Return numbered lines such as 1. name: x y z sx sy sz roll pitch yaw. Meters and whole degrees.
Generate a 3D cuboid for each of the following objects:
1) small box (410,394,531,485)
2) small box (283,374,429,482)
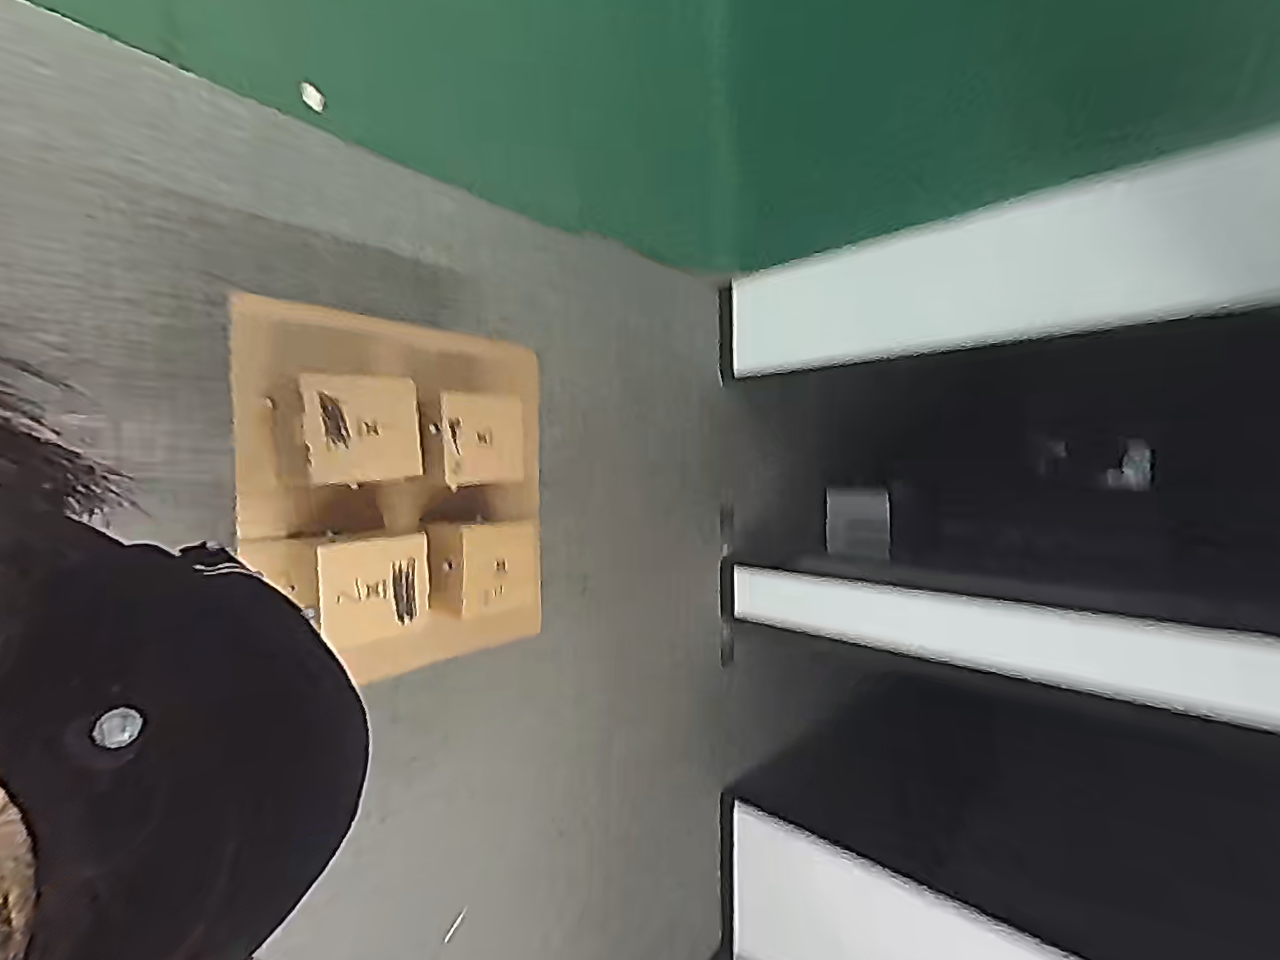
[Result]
1. small box: -0.339 -0.076 1.076 0.179 0.176 0.168 -3 92 -49
2. small box: -0.484 -0.083 0.918 0.179 0.176 0.168 -8 97 -47
